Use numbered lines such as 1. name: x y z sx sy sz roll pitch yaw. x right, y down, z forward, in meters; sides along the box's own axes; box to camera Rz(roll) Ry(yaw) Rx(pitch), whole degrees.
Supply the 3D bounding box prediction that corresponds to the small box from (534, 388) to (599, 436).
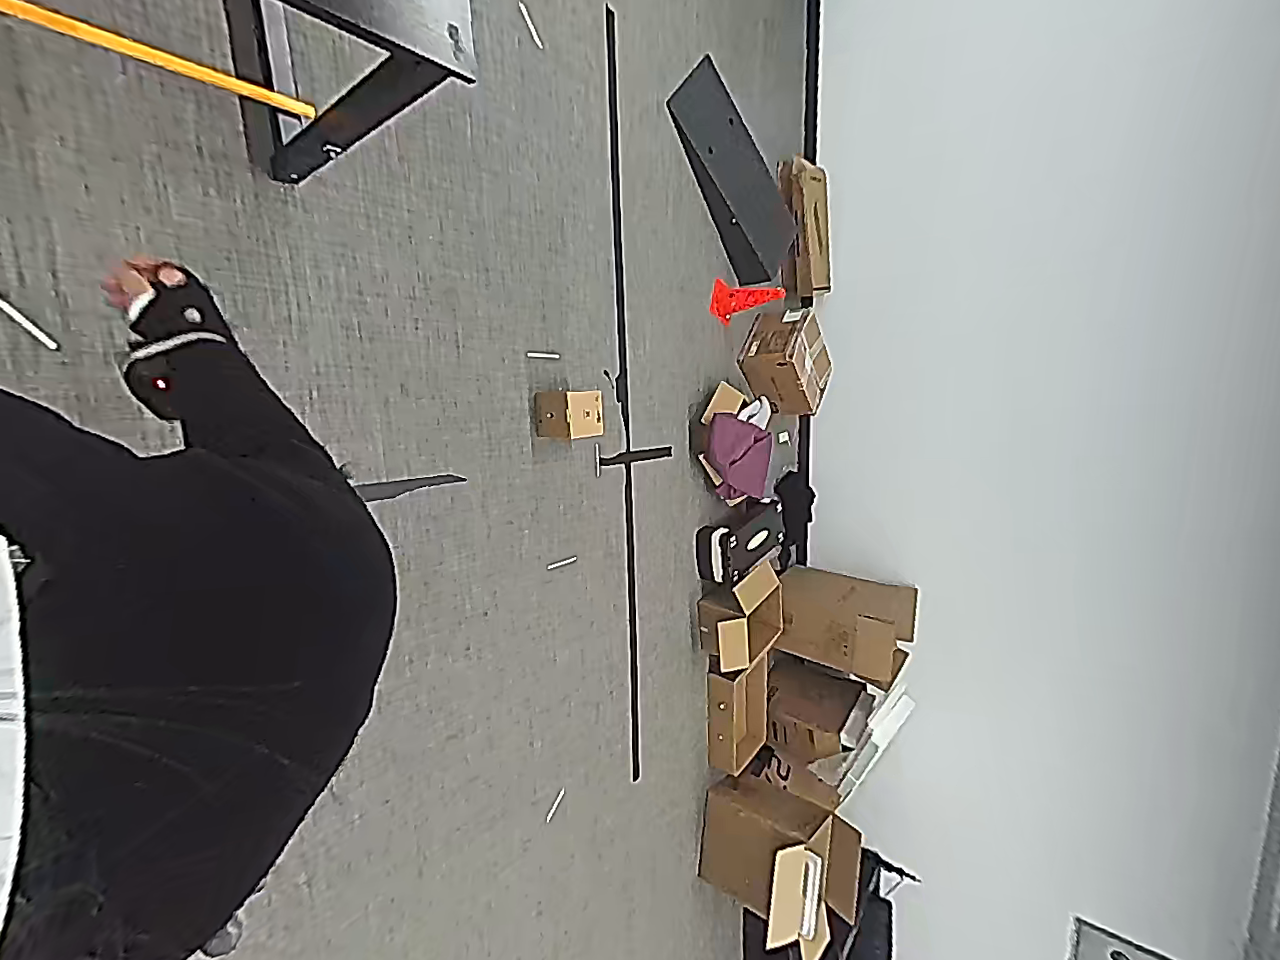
1. small box: -0.274 -0.248 1.981 0.179 0.176 0.168 -14 105 -50
